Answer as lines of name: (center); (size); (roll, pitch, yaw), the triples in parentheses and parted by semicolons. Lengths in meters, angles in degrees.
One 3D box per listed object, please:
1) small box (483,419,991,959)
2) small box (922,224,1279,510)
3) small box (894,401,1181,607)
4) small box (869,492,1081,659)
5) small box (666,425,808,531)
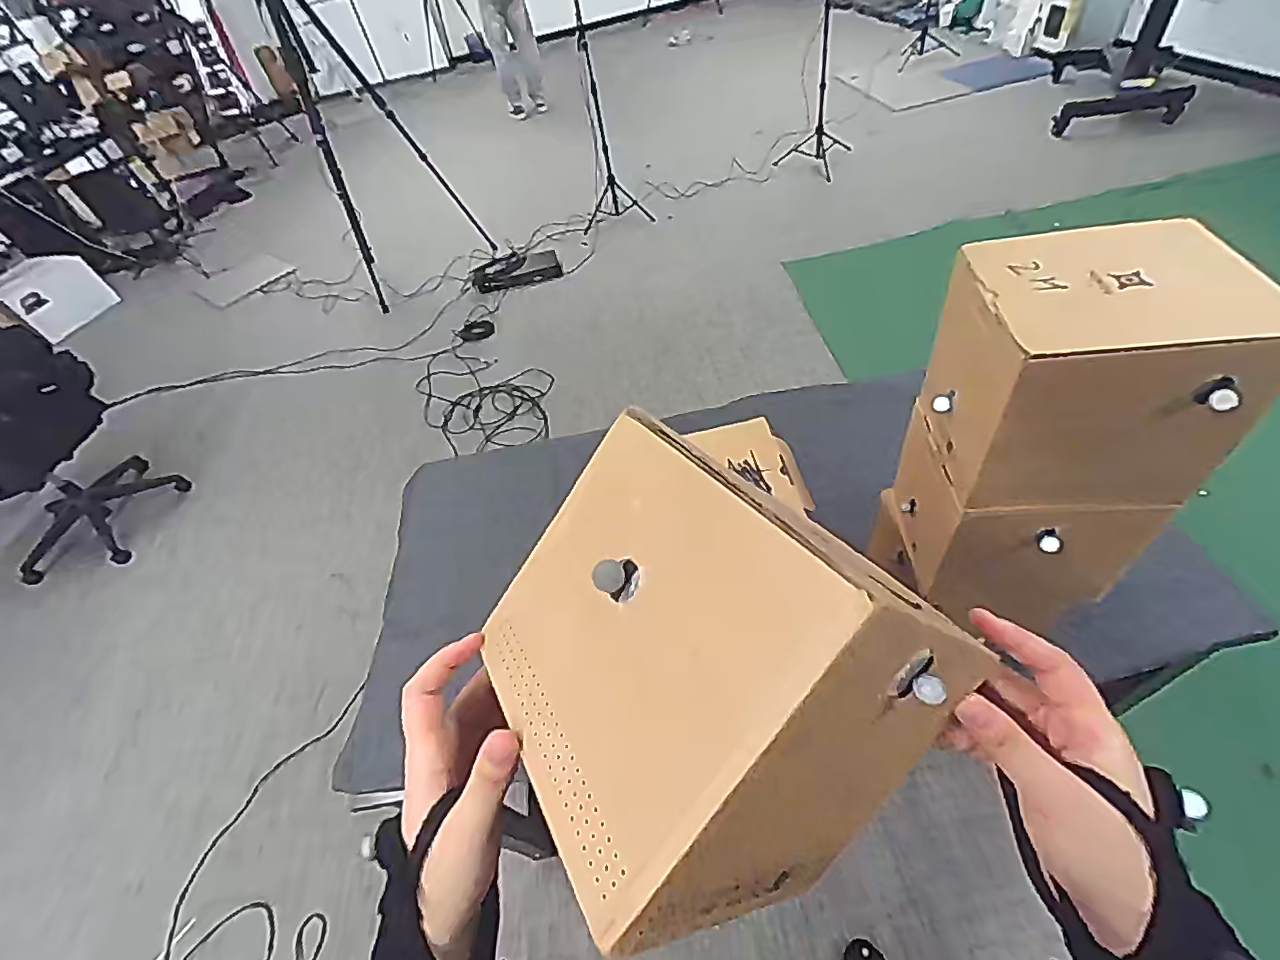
small box: (0.039, 0.098, 0.298); (0.176, 0.168, 0.179); (-57, 42, 8)
small box: (0.365, -0.088, 0.460); (0.179, 0.176, 0.168); (-3, 47, 13)
small box: (0.392, 0.024, 0.578); (0.179, 0.176, 0.168); (-4, 47, 11)
small box: (0.419, 0.121, 0.707); (0.168, 0.176, 0.179); (-12, 47, 4)
small box: (0.077, 0.067, 0.608); (0.179, 0.176, 0.168); (-12, 47, 3)
